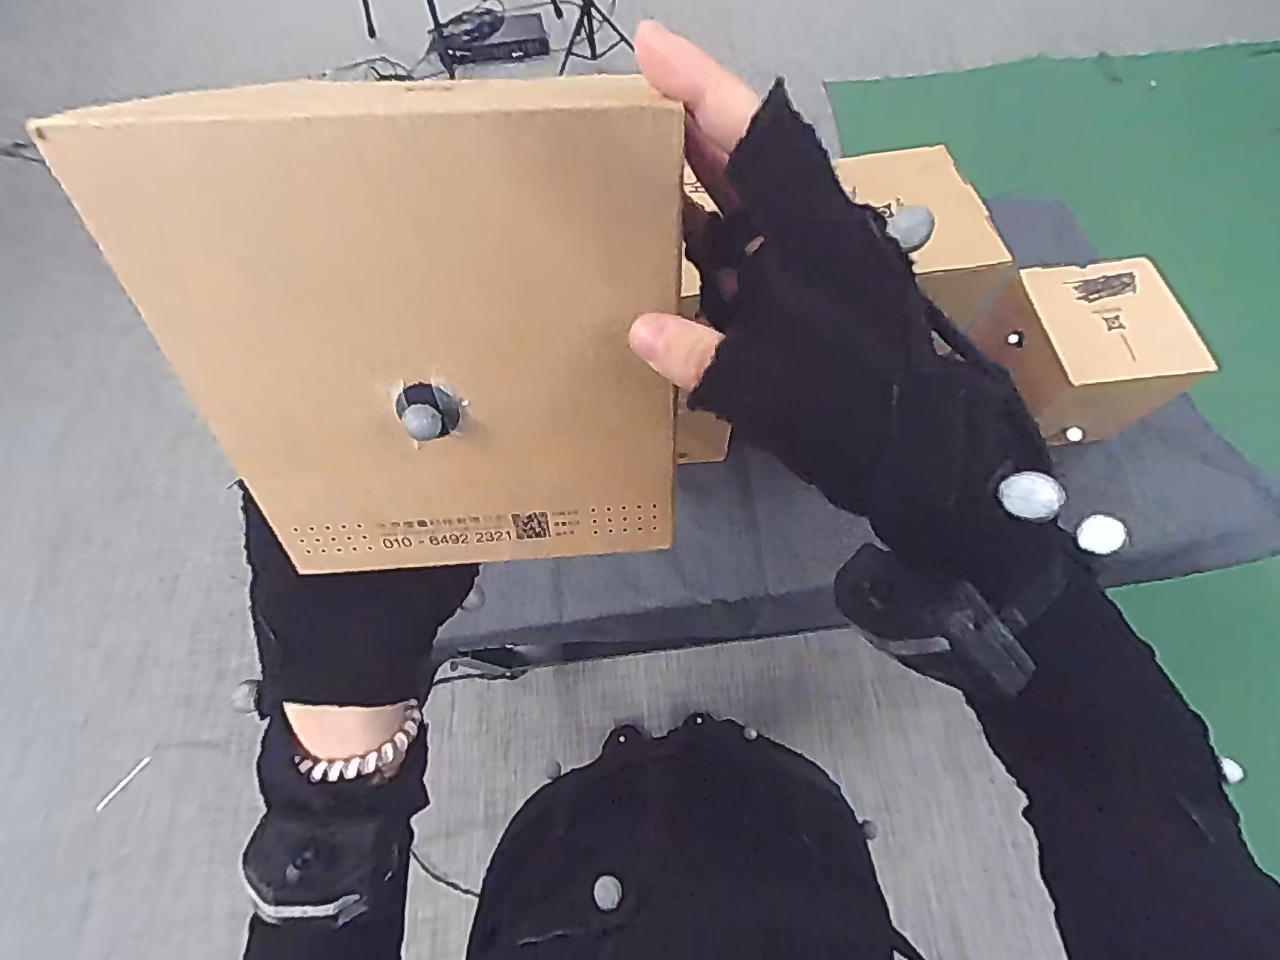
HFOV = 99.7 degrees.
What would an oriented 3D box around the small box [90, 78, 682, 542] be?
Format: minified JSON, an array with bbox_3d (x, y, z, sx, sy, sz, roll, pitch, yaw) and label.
[{"bbox_3d":[-0.070,-0.083,0.261,0.168,0.176,0.179,-3,38,-3],"label":"small box"}]

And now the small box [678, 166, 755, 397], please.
[{"bbox_3d":[0.012,-0.197,0.588,0.179,0.176,0.168,-11,67,-1],"label":"small box"}]
